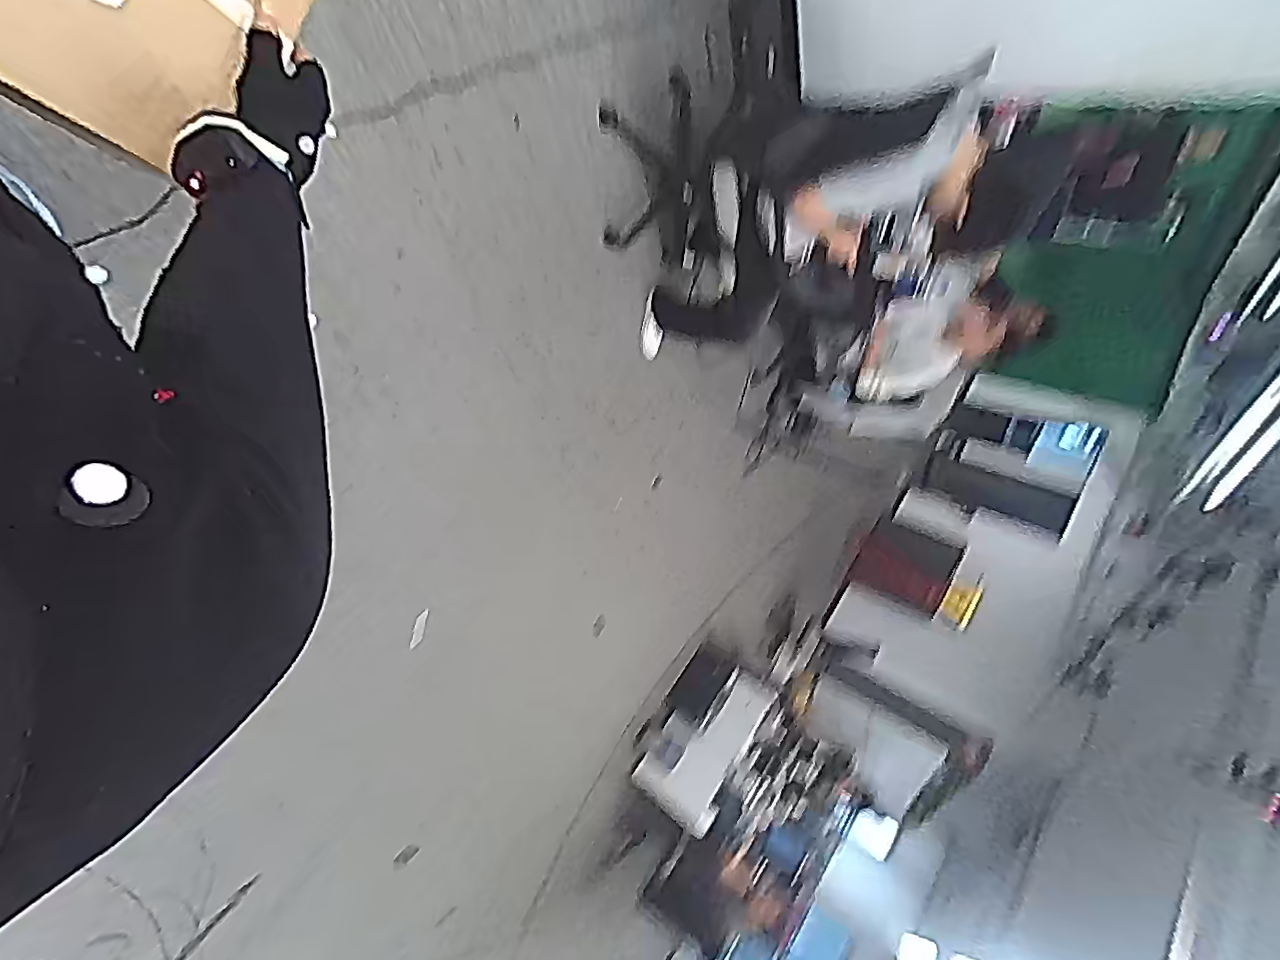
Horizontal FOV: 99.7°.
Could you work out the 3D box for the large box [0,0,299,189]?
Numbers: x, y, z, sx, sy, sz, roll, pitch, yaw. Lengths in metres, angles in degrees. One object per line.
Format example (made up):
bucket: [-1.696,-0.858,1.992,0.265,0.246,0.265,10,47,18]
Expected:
large box: [-0.567,-0.518,0.443,0.408,0.320,0.320,20,98,-57]
